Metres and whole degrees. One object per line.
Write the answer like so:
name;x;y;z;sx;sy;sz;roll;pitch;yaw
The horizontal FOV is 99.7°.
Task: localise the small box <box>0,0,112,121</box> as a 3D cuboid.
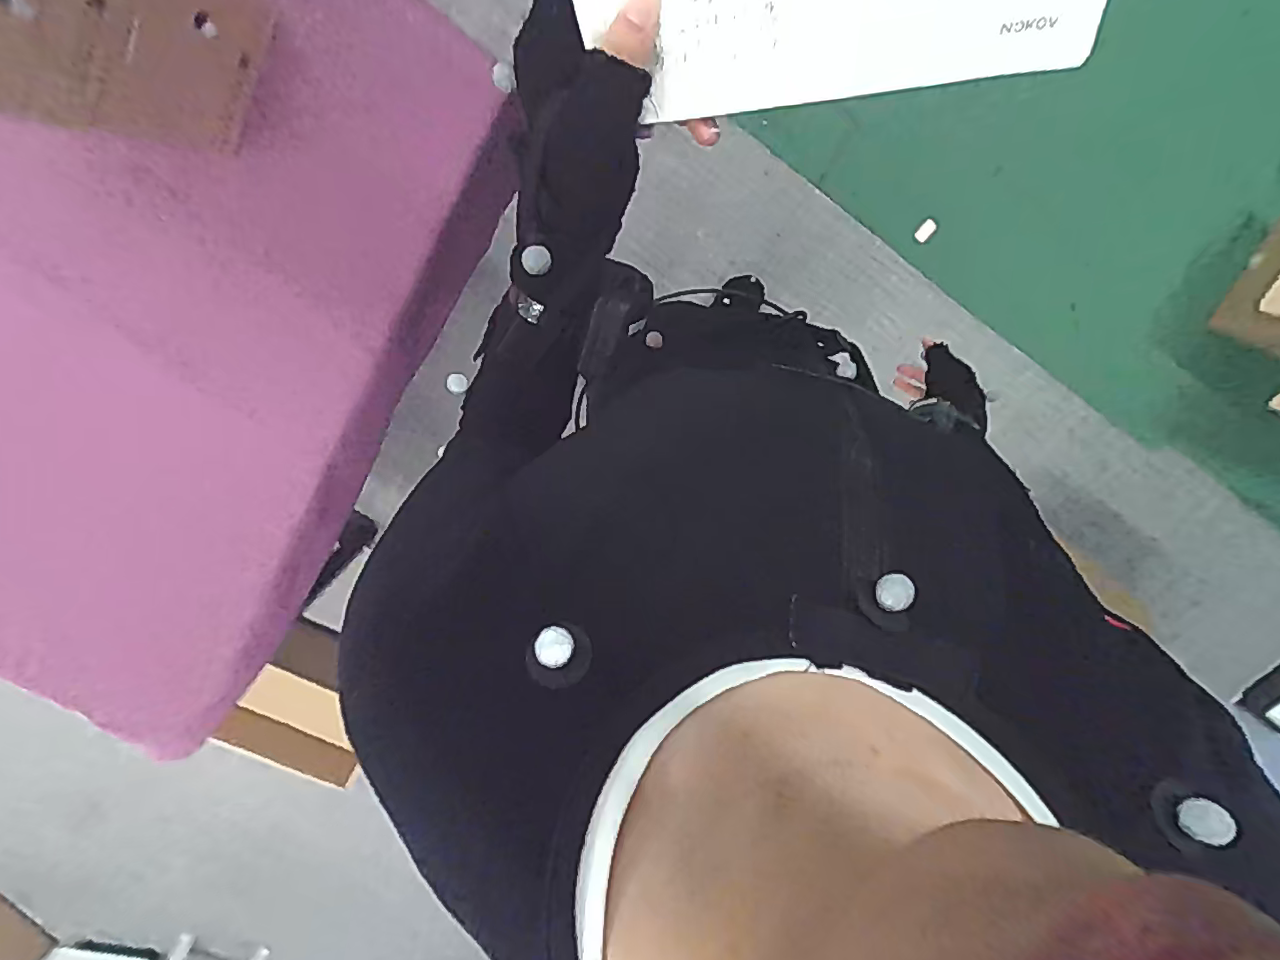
small box;-0.491;-0.363;0.338;0.179;0.176;0.168;32;108;-12
